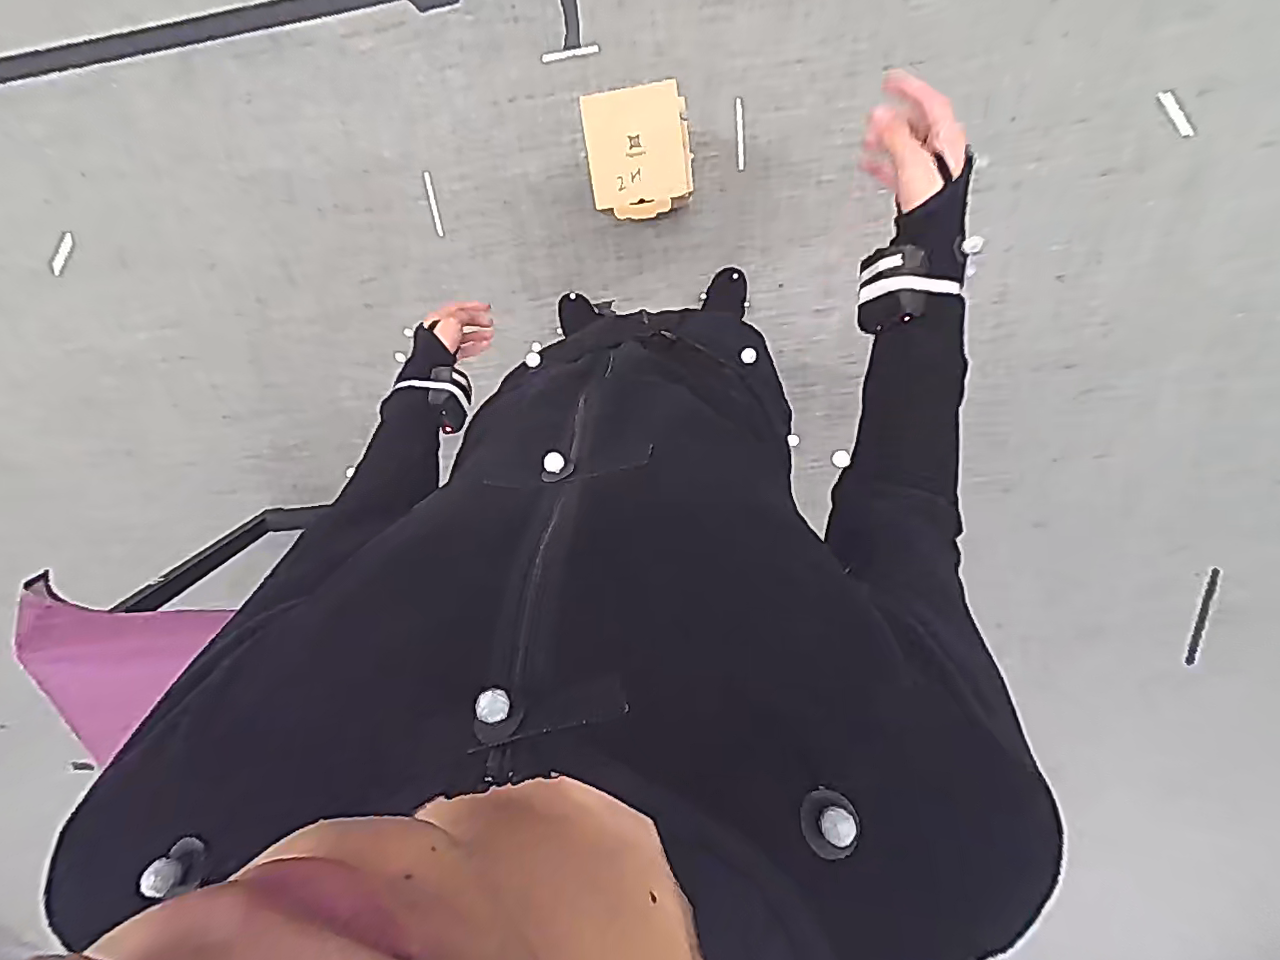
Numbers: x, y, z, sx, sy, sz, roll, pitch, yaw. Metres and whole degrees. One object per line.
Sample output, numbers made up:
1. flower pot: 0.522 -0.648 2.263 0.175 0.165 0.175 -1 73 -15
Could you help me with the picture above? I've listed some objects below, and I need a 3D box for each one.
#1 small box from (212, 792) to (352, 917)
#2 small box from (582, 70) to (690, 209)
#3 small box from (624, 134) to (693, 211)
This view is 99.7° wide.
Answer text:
1. small box: -0.795 0.844 1.225 0.168 0.176 0.179 -10 112 7
2. small box: -0.004 -0.606 0.983 0.168 0.176 0.179 -7 113 5
3. small box: 0.032 -0.748 1.280 0.168 0.176 0.179 -10 112 7
